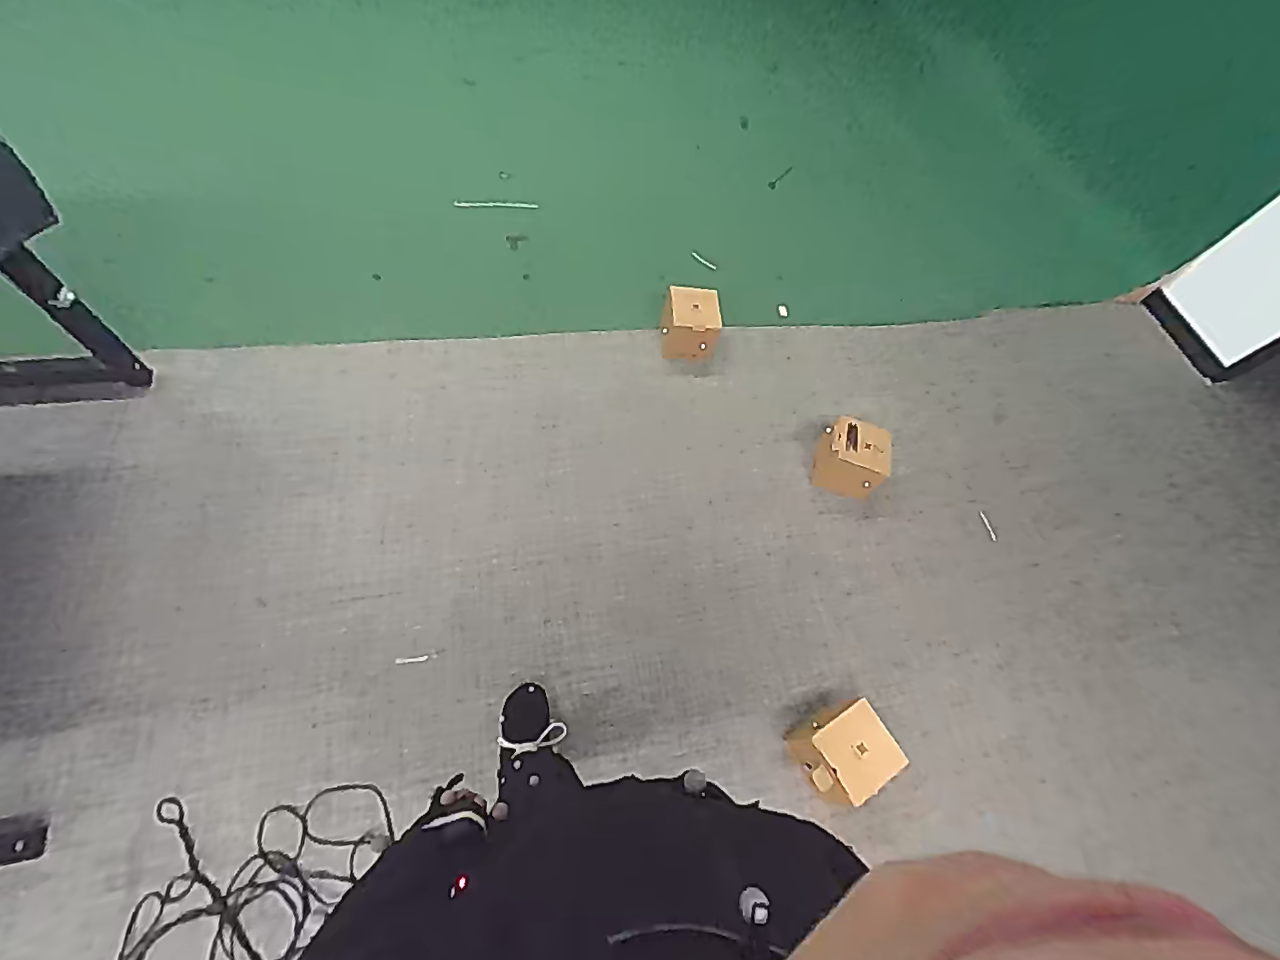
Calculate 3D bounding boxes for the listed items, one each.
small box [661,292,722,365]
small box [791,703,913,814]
[{"bbox_3d":[0.171,-0.512,1.849,0.168,0.176,0.179,2,62,-11],"label":"small box"},{"bbox_3d":[0.495,0.658,1.289,0.179,0.176,0.168,-26,70,-21],"label":"small box"}]
